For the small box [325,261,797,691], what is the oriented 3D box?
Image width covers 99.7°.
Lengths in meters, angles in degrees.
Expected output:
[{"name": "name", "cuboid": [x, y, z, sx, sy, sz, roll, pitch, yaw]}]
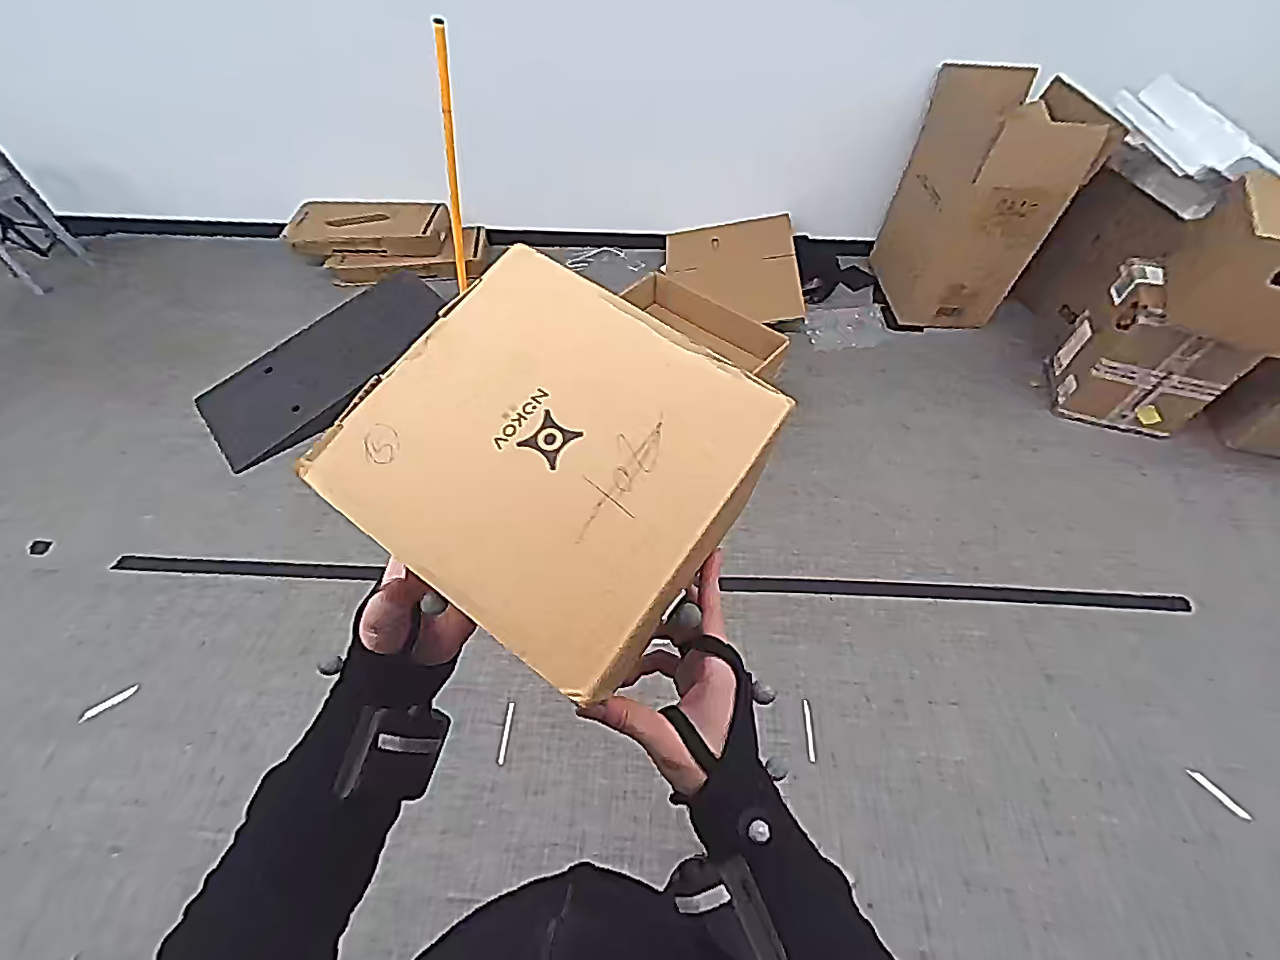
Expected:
[{"name": "small box", "cuboid": [-0.037, 0.011, 0.339, 0.179, 0.176, 0.168, 34, 75, 12]}]
